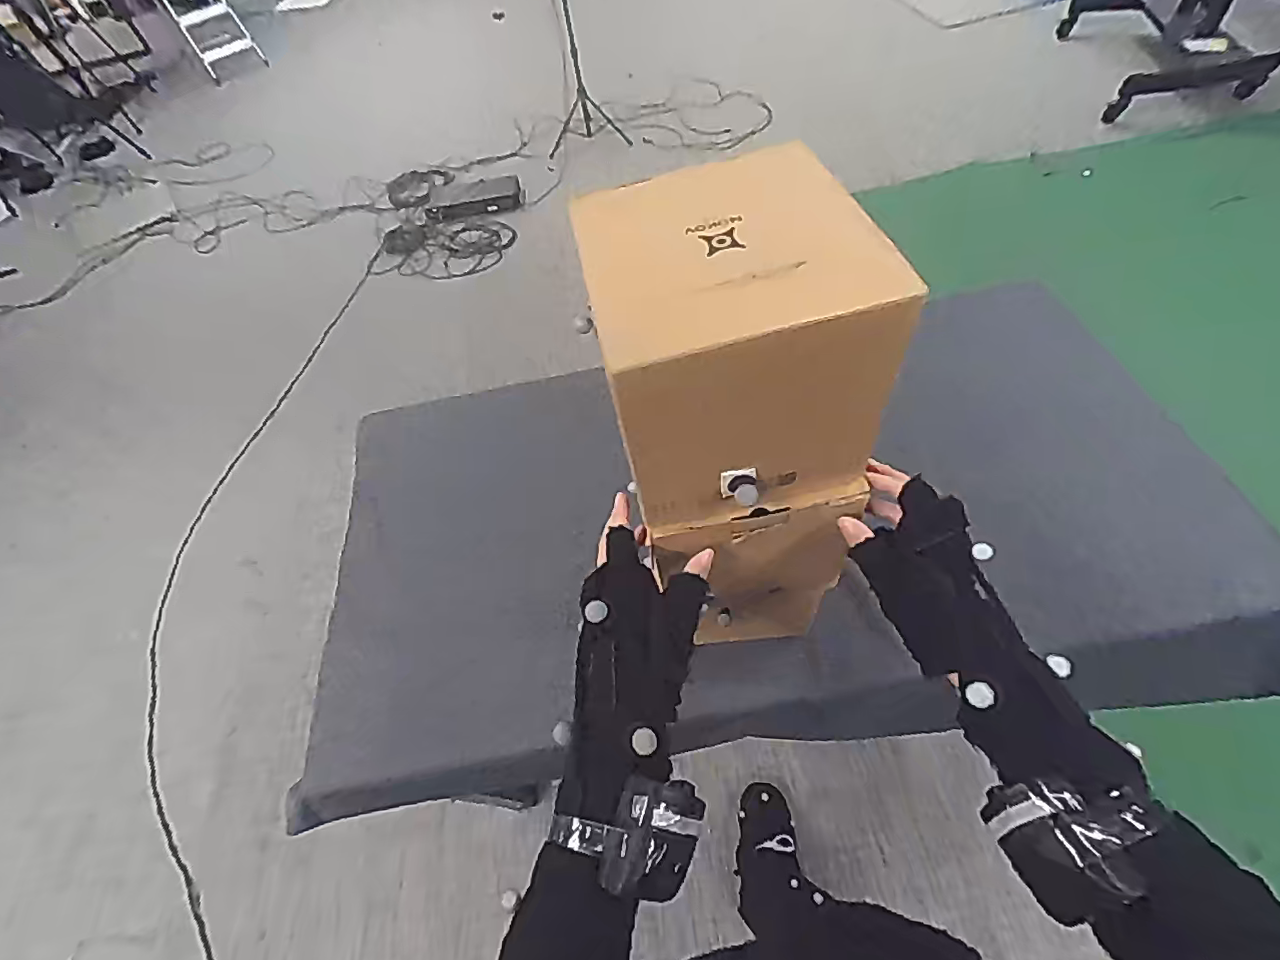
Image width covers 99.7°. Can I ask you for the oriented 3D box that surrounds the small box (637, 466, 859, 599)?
[{"bbox_3d":[0.085,0.000,0.519,0.168,0.176,0.179,-14,56,1],"label":"small box"}]

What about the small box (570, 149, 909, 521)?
[{"bbox_3d":[0.057,-0.098,0.393,0.168,0.176,0.179,-15,55,1],"label":"small box"}]

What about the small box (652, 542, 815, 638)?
[{"bbox_3d":[0.109,0.081,0.664,0.179,0.176,0.168,-9,54,3],"label":"small box"}]
